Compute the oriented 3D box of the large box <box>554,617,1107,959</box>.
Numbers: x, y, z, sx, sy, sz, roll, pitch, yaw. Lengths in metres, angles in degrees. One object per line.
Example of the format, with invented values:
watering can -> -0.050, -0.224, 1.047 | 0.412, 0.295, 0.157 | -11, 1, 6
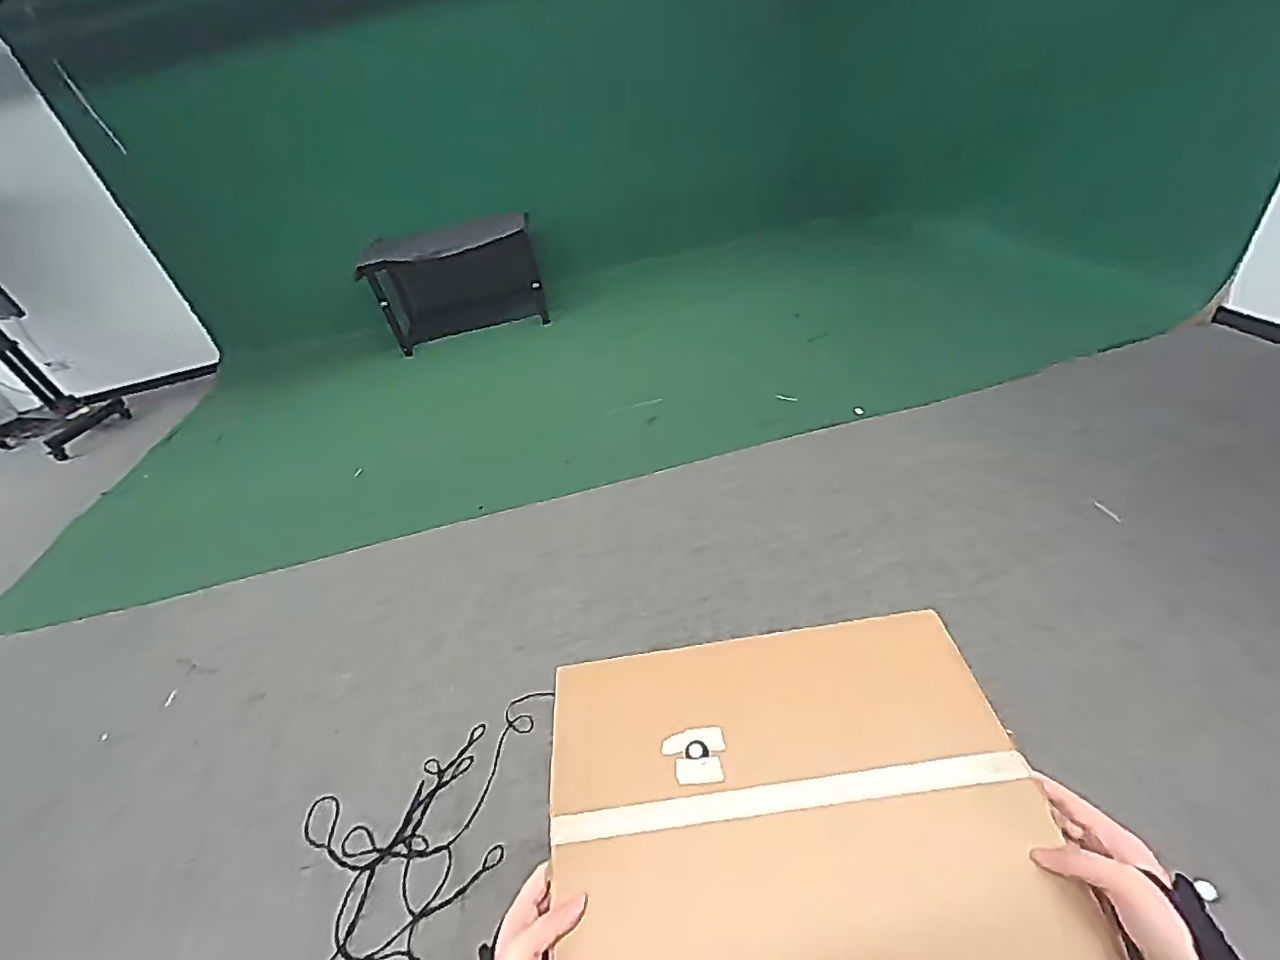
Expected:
large box -> 0.147, 0.390, 0.575 | 0.408, 0.320, 0.320 | -11, 43, 4
